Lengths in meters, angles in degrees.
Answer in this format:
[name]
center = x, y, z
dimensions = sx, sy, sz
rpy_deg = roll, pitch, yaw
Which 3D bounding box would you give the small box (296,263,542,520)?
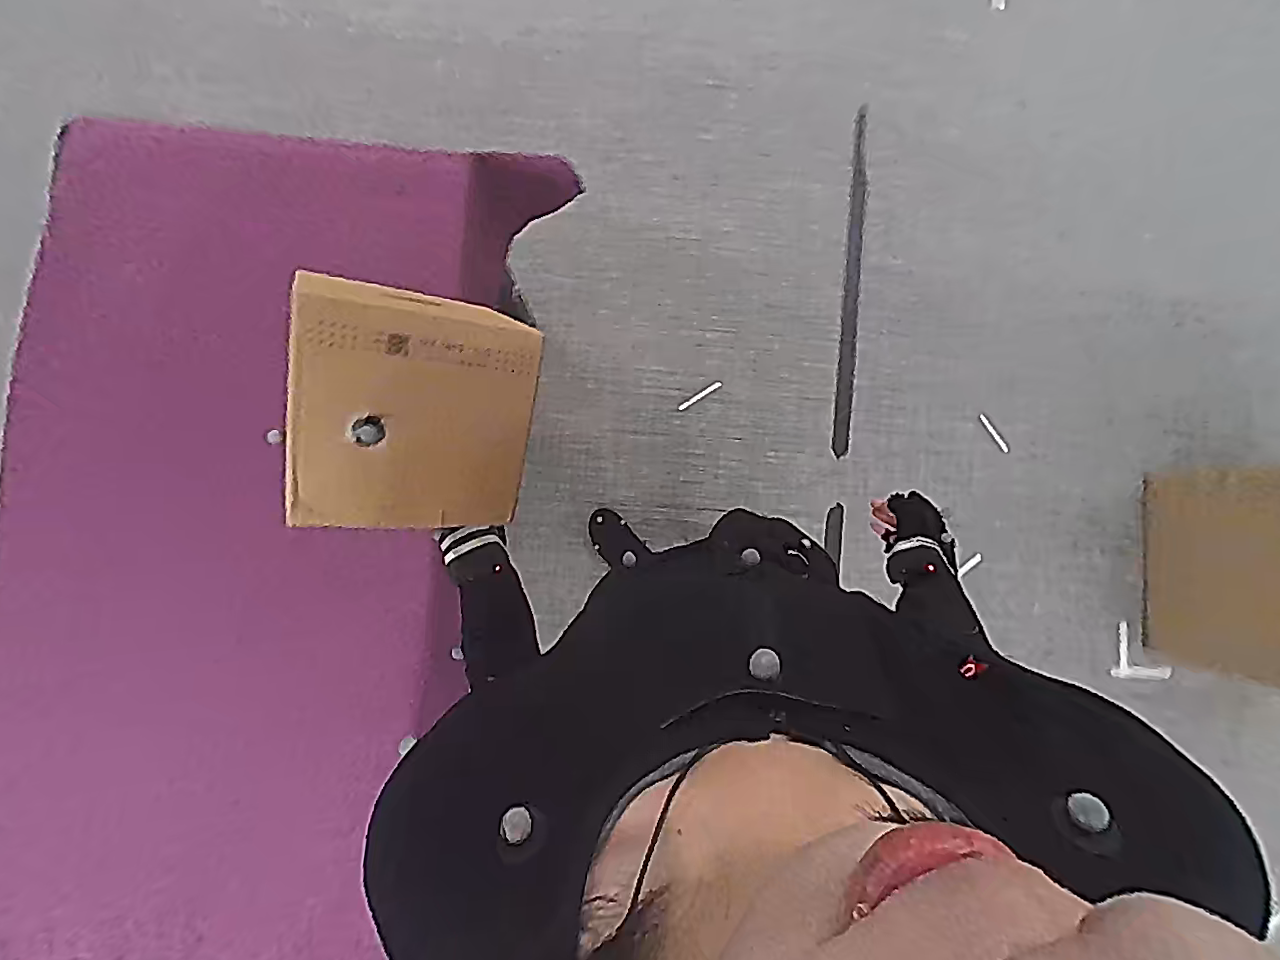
[small box]
center = -0.192, -0.078, 0.460
dimensions = 0.168, 0.179, 0.176
rpy_deg = 4, 112, -31
